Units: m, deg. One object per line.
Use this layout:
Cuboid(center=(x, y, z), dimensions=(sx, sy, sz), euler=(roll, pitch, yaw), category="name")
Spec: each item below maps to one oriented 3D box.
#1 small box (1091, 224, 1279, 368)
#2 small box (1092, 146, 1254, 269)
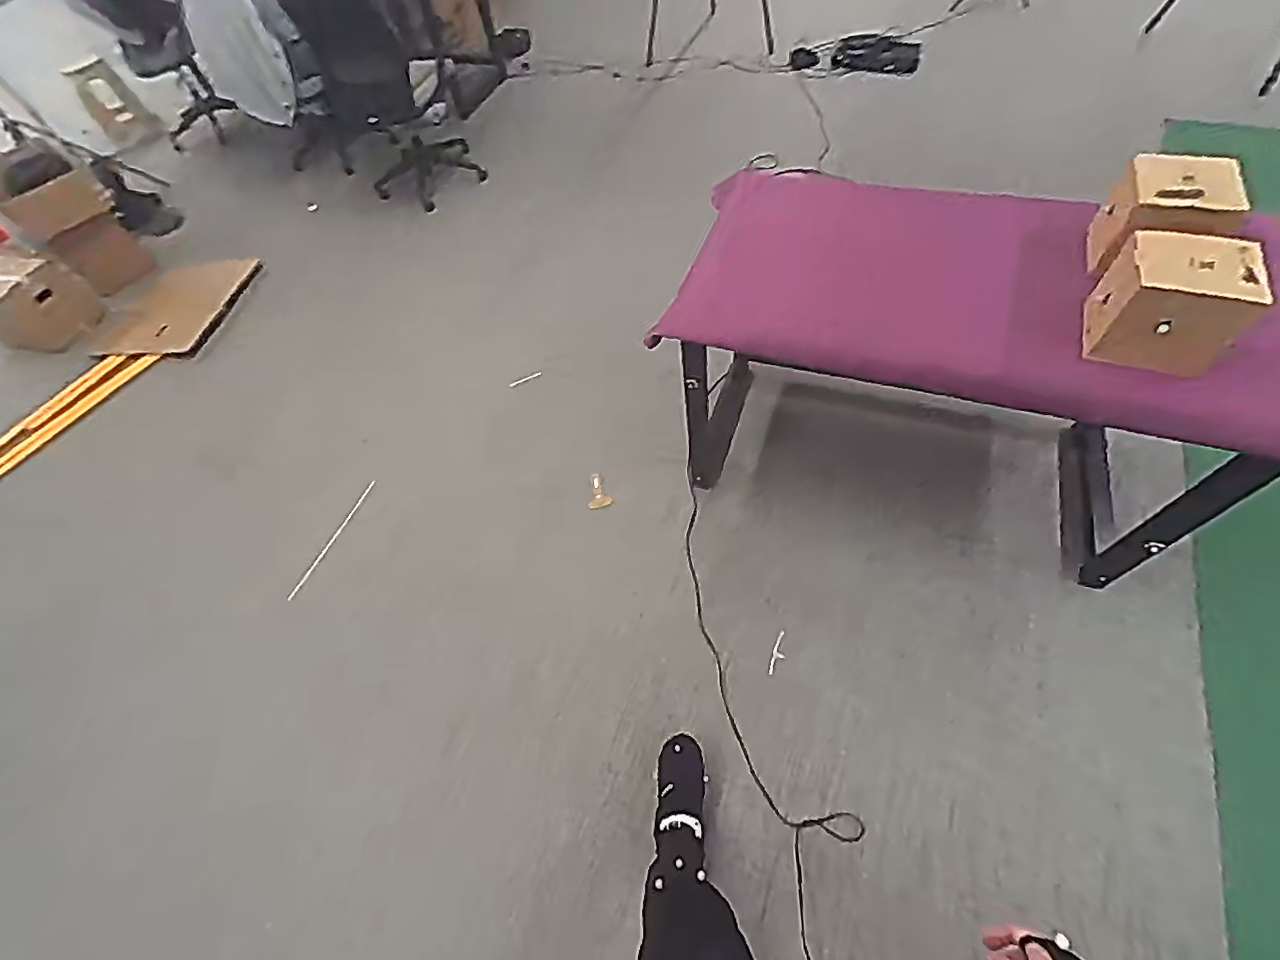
Cuboid(center=(0.932, -0.318, 0.947), dimensions=(0.179, 0.176, 0.168), euler=(16, 61, 19), category="small box")
Cuboid(center=(1.028, -0.521, 1.061), dimensions=(0.168, 0.176, 0.179), euler=(15, 61, 18), category="small box")
